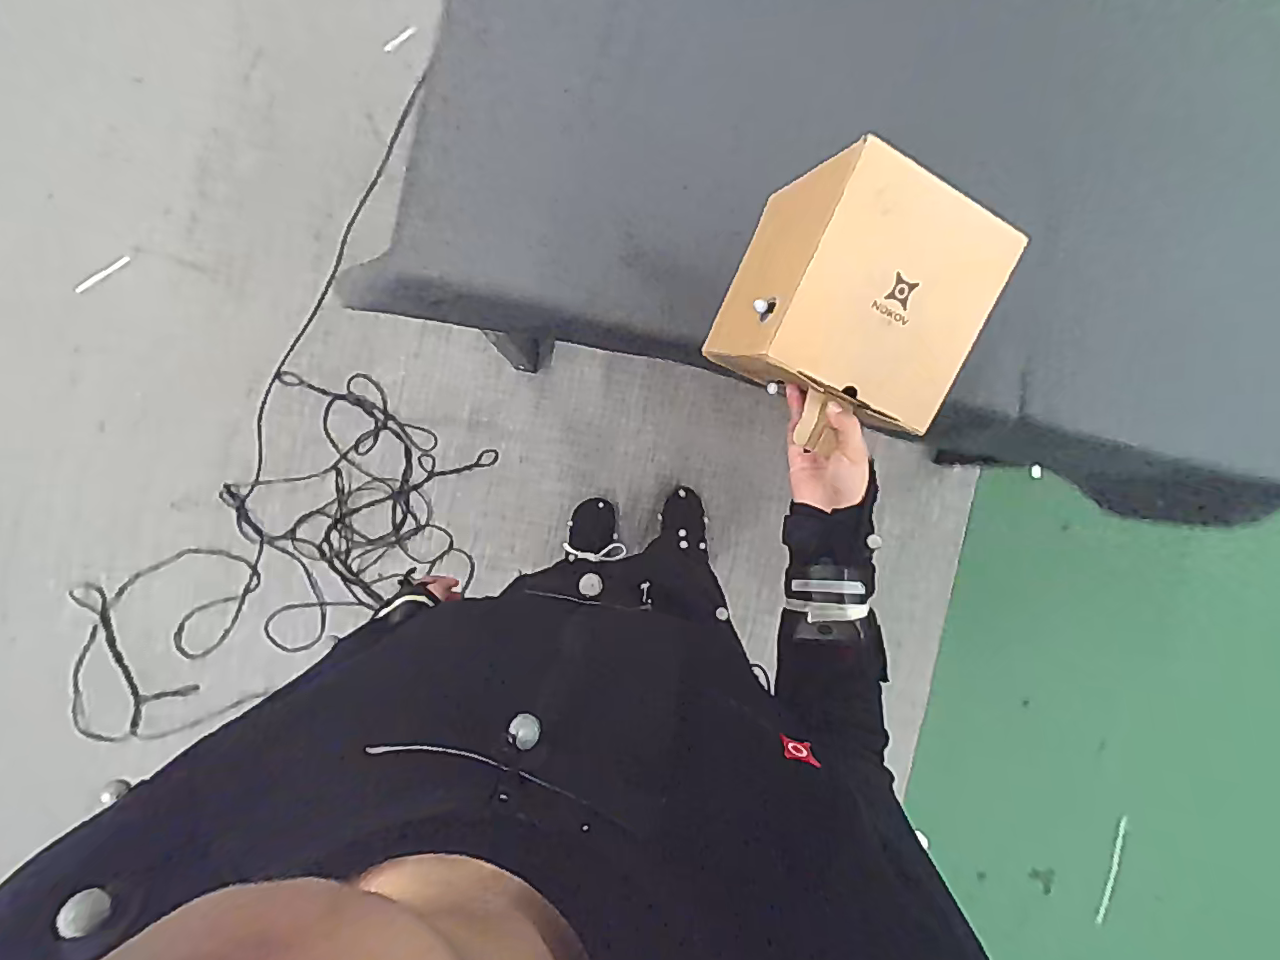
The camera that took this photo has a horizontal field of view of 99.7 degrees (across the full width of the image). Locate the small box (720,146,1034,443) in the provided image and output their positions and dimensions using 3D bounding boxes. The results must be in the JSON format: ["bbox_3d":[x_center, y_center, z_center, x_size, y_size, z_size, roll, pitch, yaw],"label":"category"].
[{"bbox_3d":[0.197,-0.158,0.502,0.168,0.176,0.179,22,100,-16],"label":"small box"}]
